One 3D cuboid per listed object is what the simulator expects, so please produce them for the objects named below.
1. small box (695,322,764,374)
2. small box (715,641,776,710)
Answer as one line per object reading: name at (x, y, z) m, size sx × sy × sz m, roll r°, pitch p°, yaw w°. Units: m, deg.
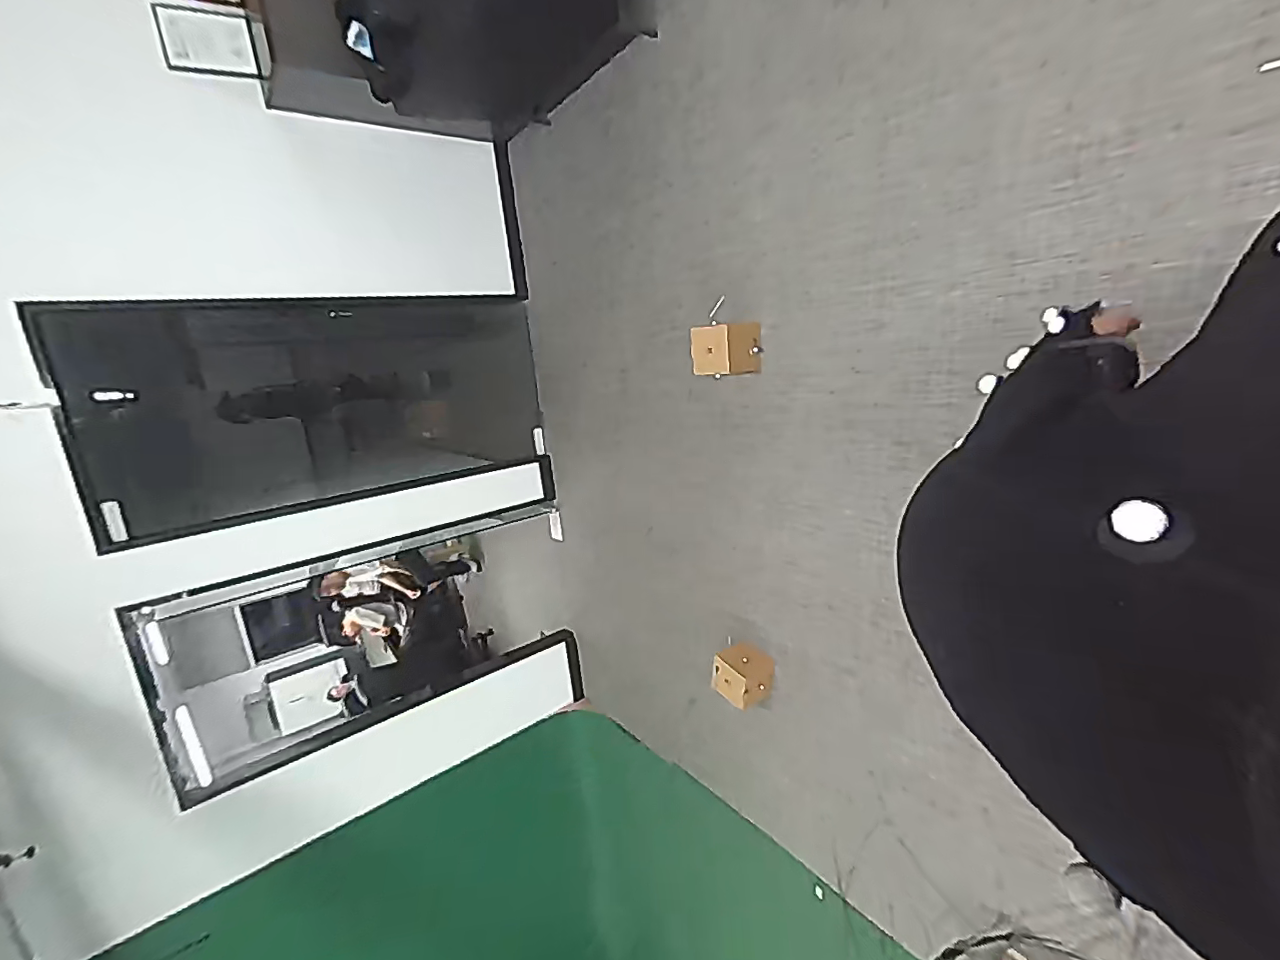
small box at (0.316, -0.463, 1.905) m, size 0.179 × 0.176 × 0.168 m, roll 11°, pitch 112°, yaw 51°
small box at (0.429, 0.783, 2.191) m, size 0.179 × 0.176 × 0.168 m, roll 28°, pitch 123°, yaw 46°
